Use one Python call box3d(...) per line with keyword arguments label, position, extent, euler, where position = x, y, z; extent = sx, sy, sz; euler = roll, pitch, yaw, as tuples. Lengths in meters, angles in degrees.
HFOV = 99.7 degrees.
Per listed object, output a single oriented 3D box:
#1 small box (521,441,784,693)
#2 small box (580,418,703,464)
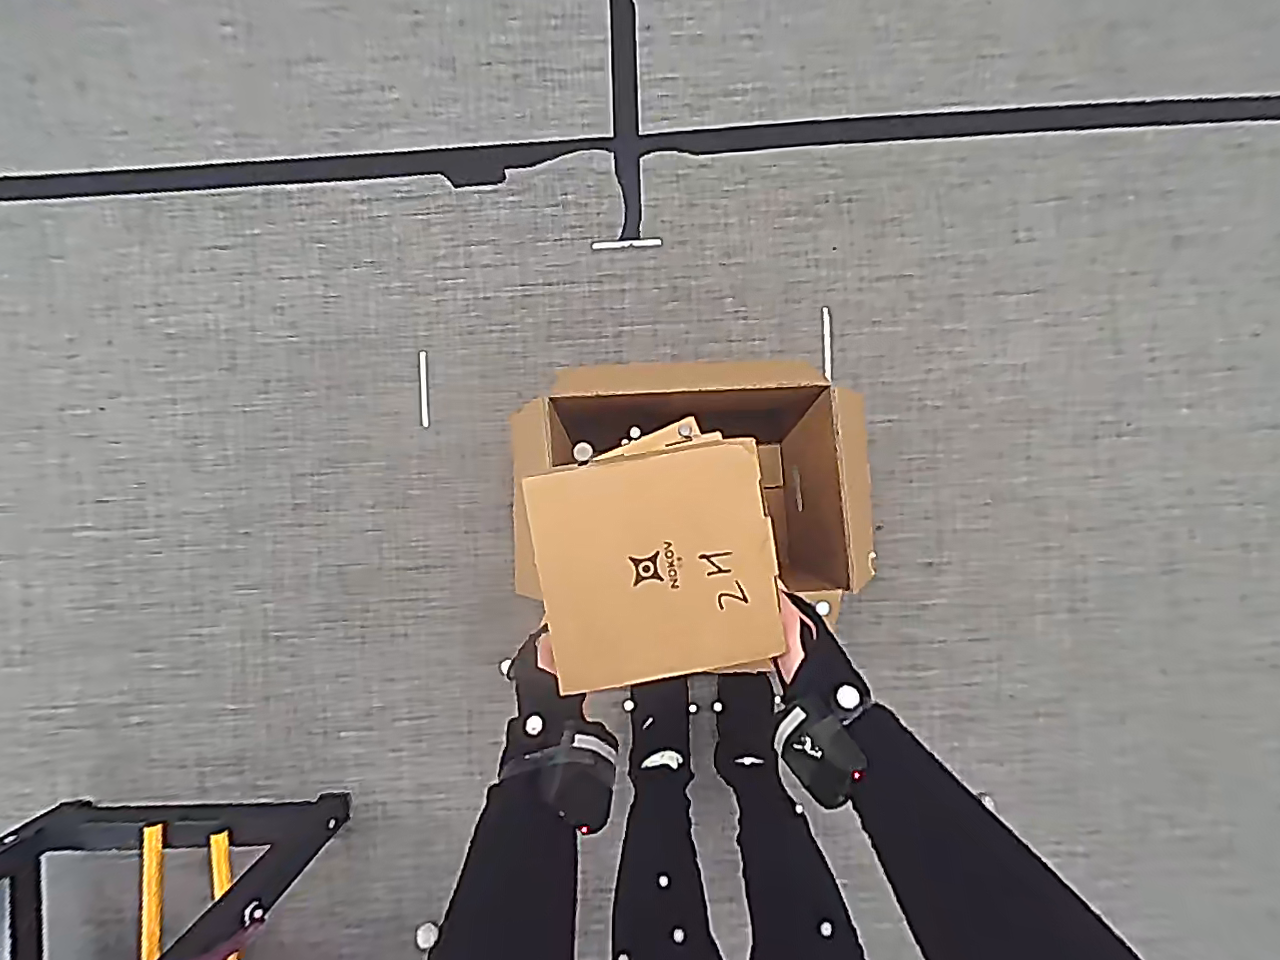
box3d(label="small box", position=(0.007, 0.061, 0.477), extent=(0.179, 0.176, 0.168), euler=(-10, 94, -3))
box3d(label="small box", position=(0.018, 0.022, 0.806), extent=(0.179, 0.176, 0.168), euler=(-24, 93, -3))
